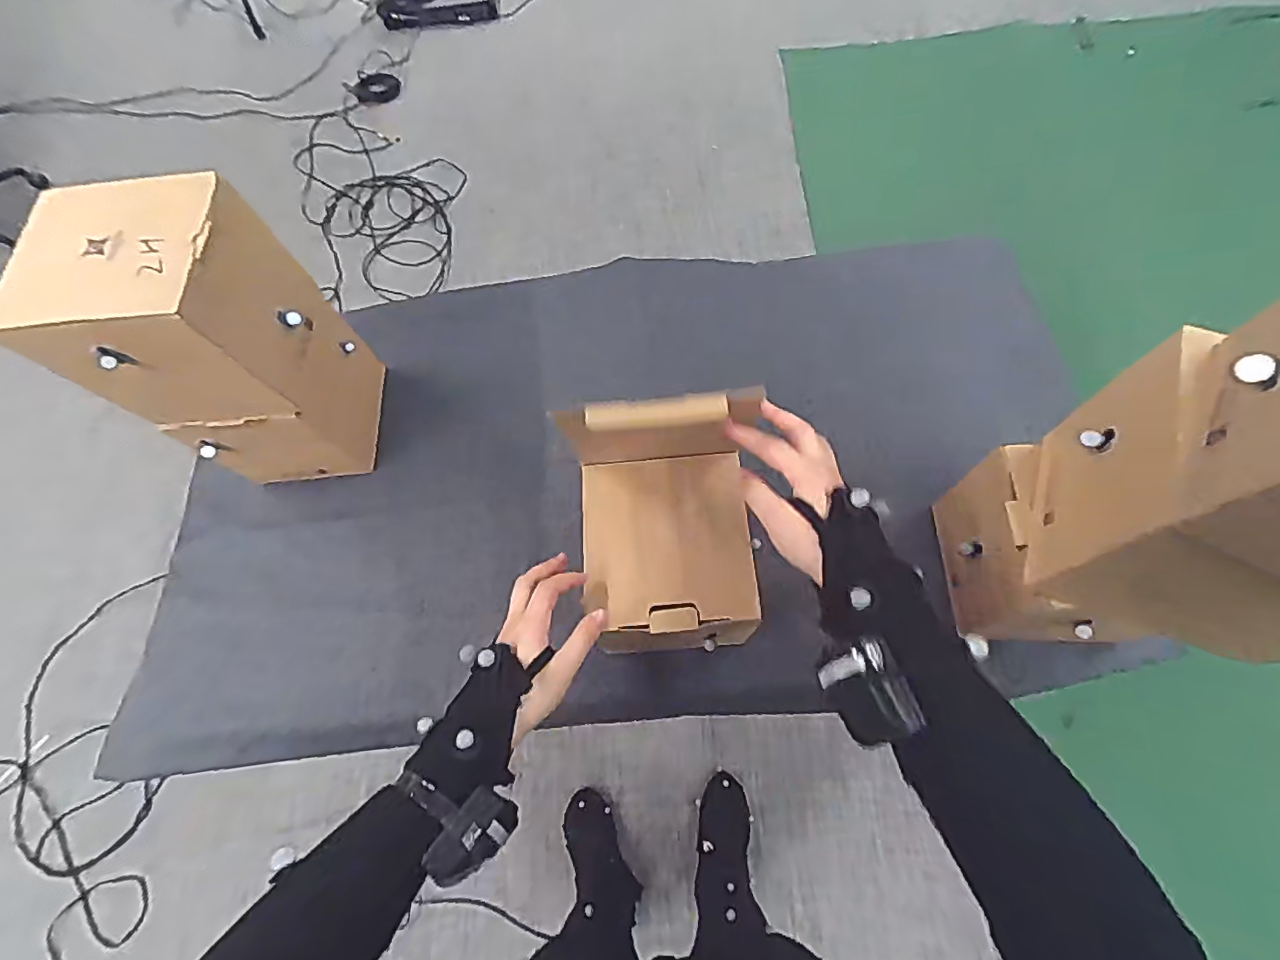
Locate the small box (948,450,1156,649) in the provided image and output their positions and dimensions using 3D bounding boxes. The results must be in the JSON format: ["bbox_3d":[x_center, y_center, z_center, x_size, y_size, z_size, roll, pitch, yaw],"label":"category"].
[{"bbox_3d":[0.449,0.080,0.565,0.179,0.176,0.168,0,65,5],"label":"small box"}]

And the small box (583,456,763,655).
[{"bbox_3d":[0.033,0.093,0.594,0.168,0.176,0.179,-5,65,2],"label":"small box"}]

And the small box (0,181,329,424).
[{"bbox_3d":[-0.462,-0.168,0.554,0.179,0.176,0.168,-5,69,2],"label":"small box"}]

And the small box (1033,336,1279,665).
[{"bbox_3d":[0.442,0.027,0.410,0.179,0.176,0.168,20,68,12],"label":"small box"}]
